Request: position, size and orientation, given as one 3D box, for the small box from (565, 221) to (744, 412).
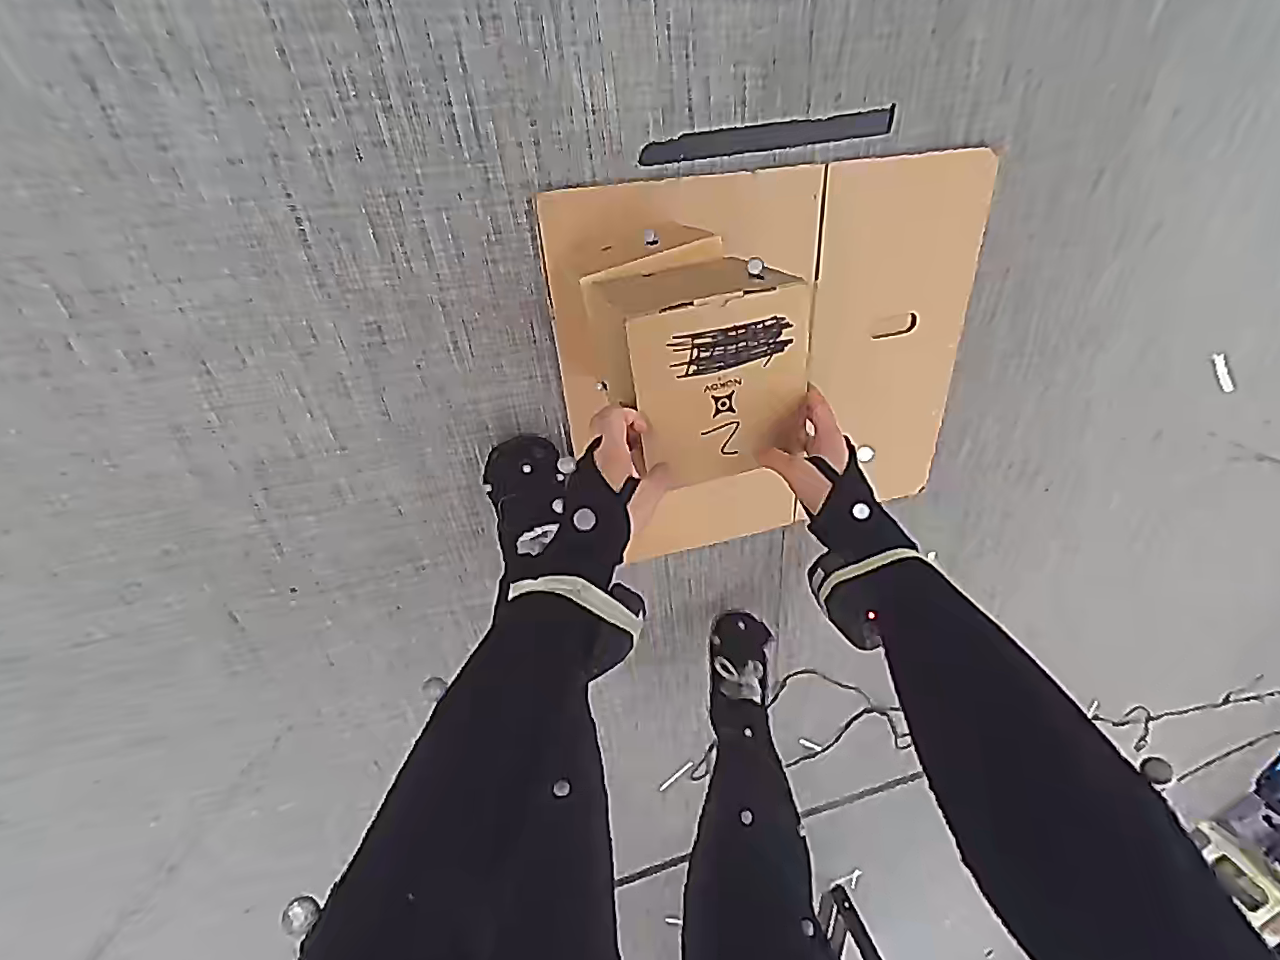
[{"bbox_3d":[0.013,-0.216,0.686,0.168,0.176,0.179,-20,124,-5],"label":"small box"}]
